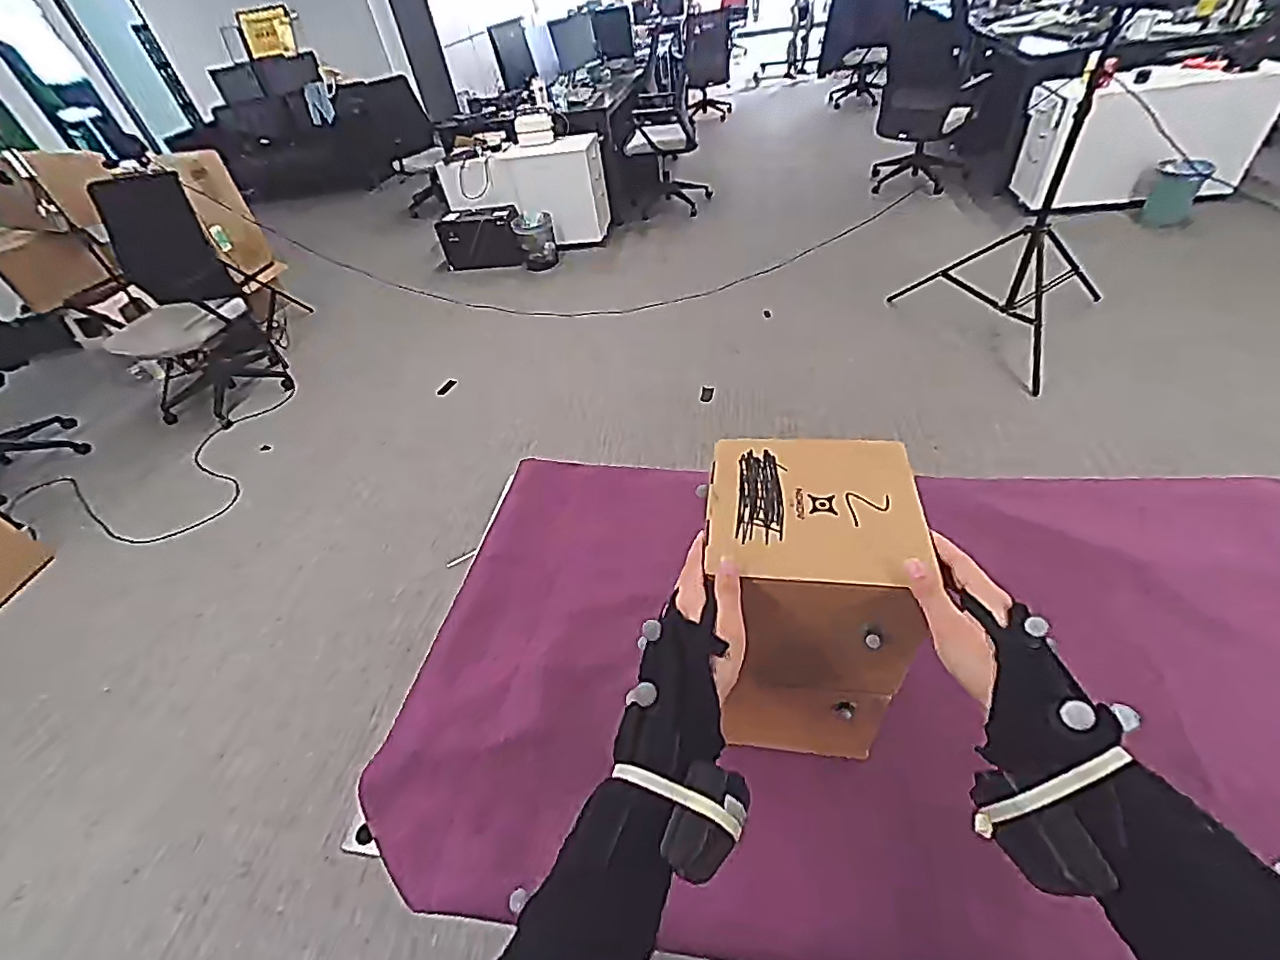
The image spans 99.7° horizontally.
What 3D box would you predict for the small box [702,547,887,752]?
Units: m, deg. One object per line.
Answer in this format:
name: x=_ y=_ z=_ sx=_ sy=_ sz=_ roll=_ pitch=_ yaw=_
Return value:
small box: x=0.169 y=0.196 z=0.630 sx=0.179 sy=0.176 sz=0.168 roll=2 pitch=44 yaw=11
